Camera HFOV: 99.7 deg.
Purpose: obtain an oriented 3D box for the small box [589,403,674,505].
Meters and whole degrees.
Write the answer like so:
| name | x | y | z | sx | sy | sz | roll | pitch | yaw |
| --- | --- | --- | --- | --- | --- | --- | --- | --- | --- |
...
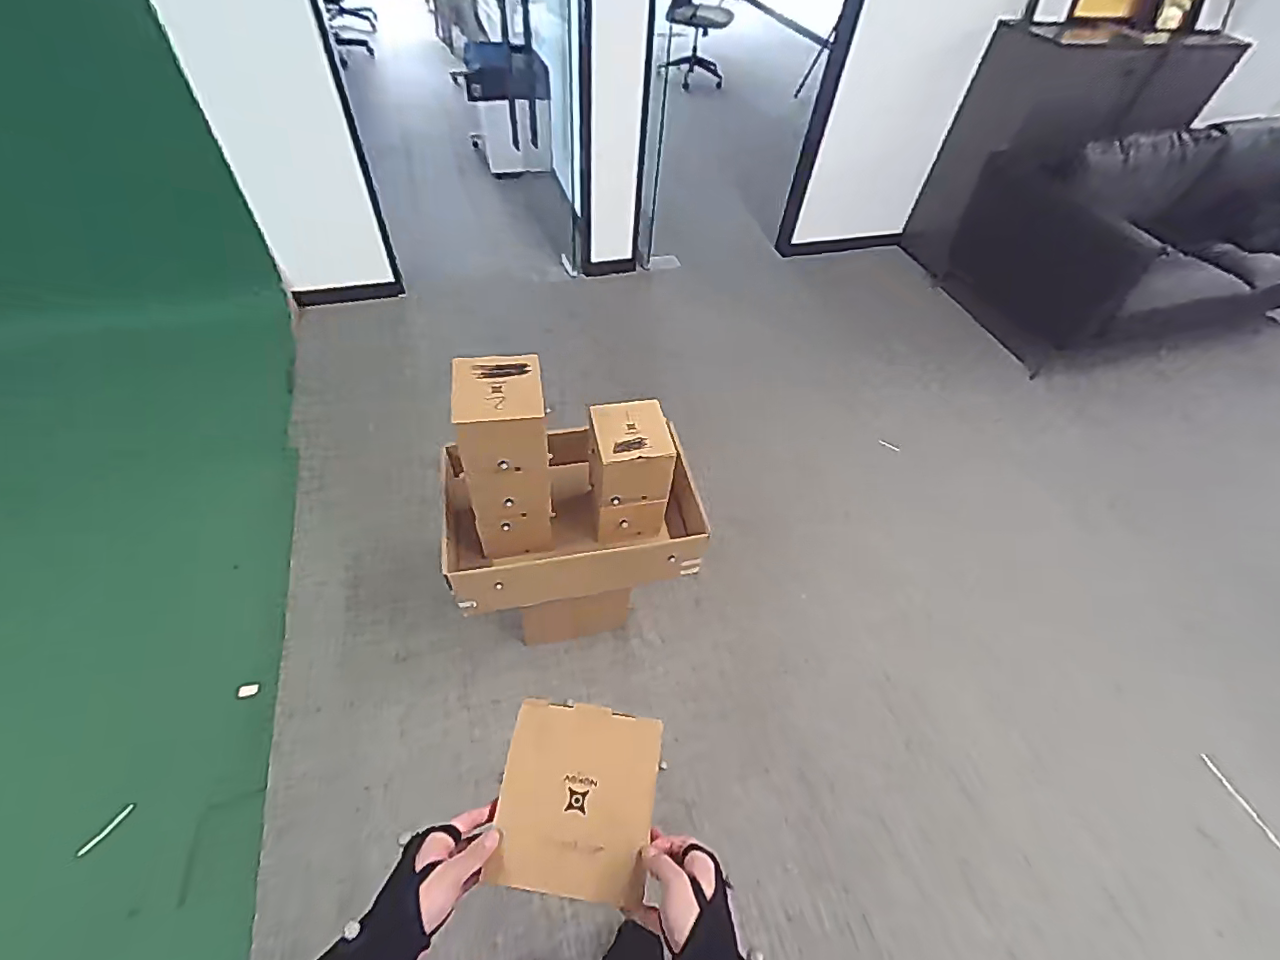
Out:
| name | x | y | z | sx | sy | sz | roll | pitch | yaw |
| --- | --- | --- | --- | --- | --- | --- | --- | --- | --- |
| small box | -0.026 | -0.054 | 1.264 | 0.168 | 0.176 | 0.179 | -7 | 52 | -11 |

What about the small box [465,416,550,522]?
| name | x | y | z | sx | sy | sz | roll | pitch | yaw |
| --- | --- | --- | --- | --- | --- | --- | --- | --- | --- |
| small box | -0.293 | -0.018 | 1.208 | 0.168 | 0.176 | 0.179 | -6 | 53 | -11 |

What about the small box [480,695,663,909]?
| name | x | y | z | sx | sy | sz | roll | pitch | yaw |
| --- | --- | --- | --- | --- | --- | --- | --- | --- | --- |
| small box | -0.071 | 0.373 | 0.645 | 0.168 | 0.176 | 0.179 | 9 | 62 | 3 |

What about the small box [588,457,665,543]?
| name | x | y | z | sx | sy | sz | roll | pitch | yaw |
| --- | --- | --- | --- | --- | --- | --- | --- | --- | --- |
| small box | -0.039 | 0.049 | 1.392 | 0.168 | 0.176 | 0.179 | -7 | 52 | -11 |
